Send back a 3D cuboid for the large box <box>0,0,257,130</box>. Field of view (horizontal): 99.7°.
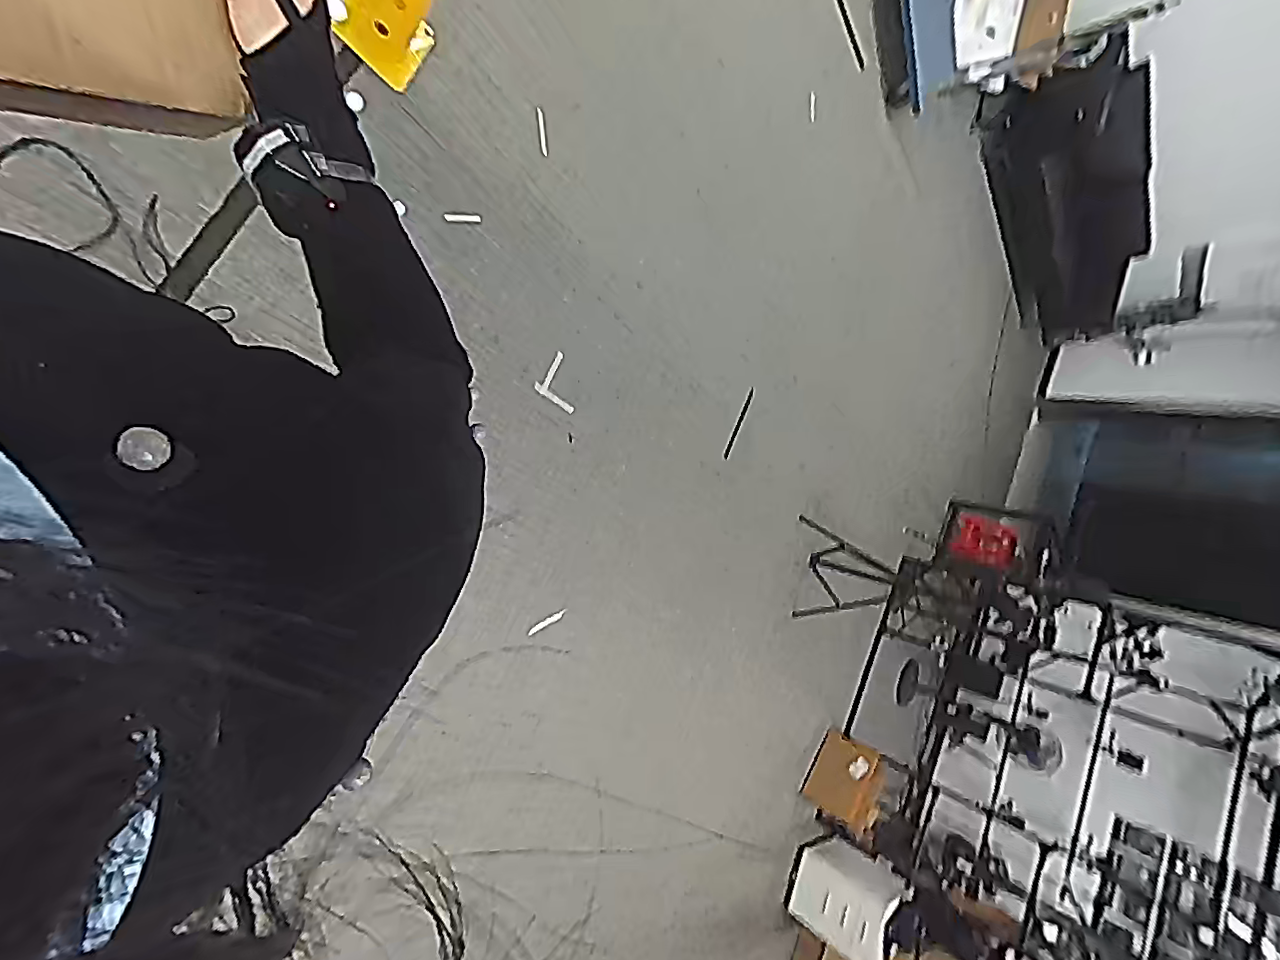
[{"bbox_3d":[-0.538,-0.442,0.349,0.408,0.320,0.320,-15,121,-39],"label":"large box"}]
